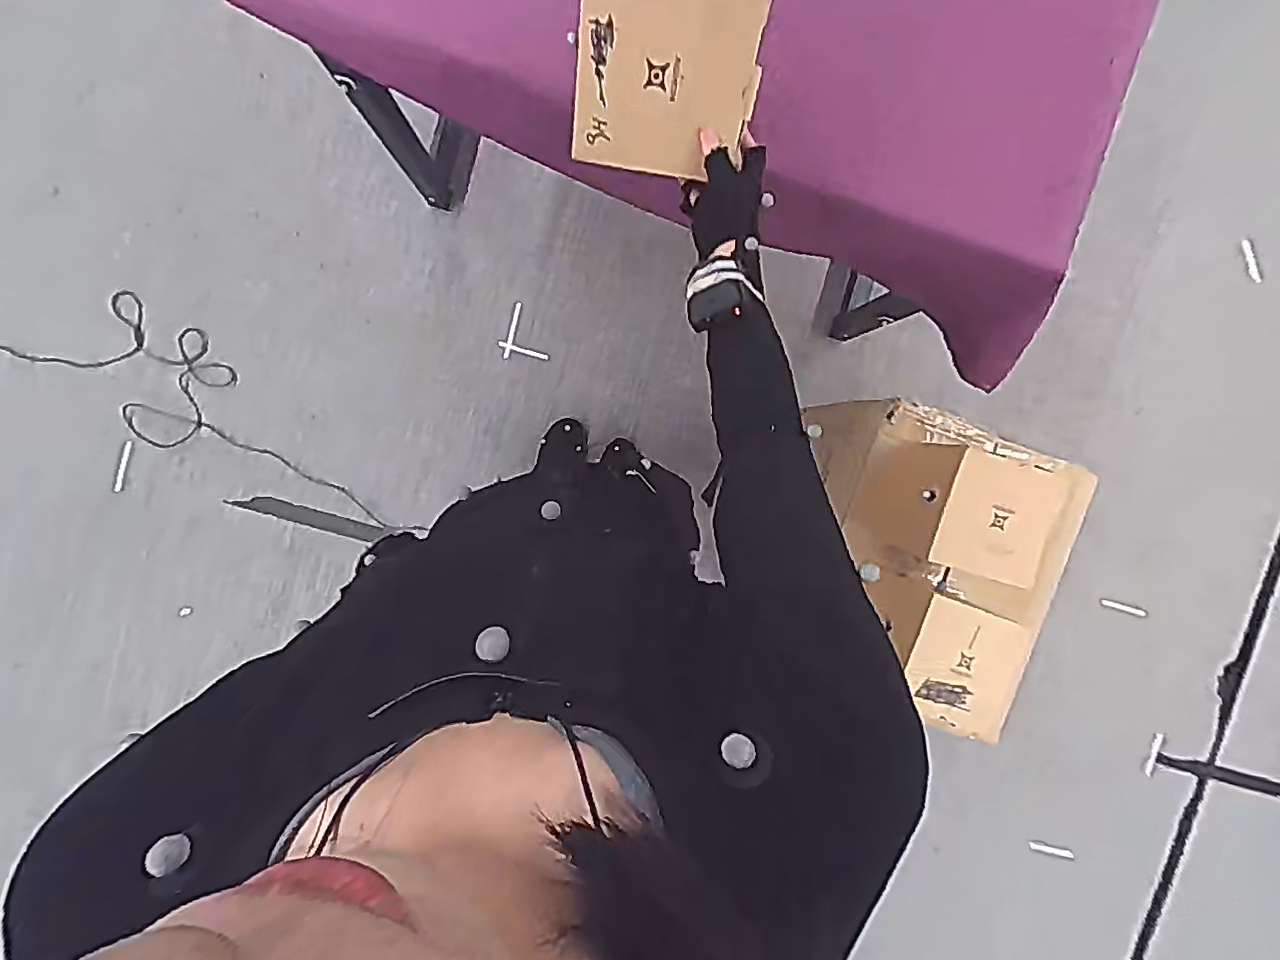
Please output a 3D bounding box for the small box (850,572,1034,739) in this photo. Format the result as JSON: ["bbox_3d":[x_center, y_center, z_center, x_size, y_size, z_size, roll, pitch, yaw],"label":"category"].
[{"bbox_3d":[0.461,0.266,0.857,0.168,0.176,0.179,20,91,-4],"label":"small box"}]

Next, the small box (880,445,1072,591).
[{"bbox_3d":[0.508,0.049,0.846,0.168,0.176,0.179,17,95,-3],"label":"small box"}]

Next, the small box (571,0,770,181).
[{"bbox_3d":[0.024,-0.447,0.597,0.179,0.176,0.168,7,125,-4],"label":"small box"}]
